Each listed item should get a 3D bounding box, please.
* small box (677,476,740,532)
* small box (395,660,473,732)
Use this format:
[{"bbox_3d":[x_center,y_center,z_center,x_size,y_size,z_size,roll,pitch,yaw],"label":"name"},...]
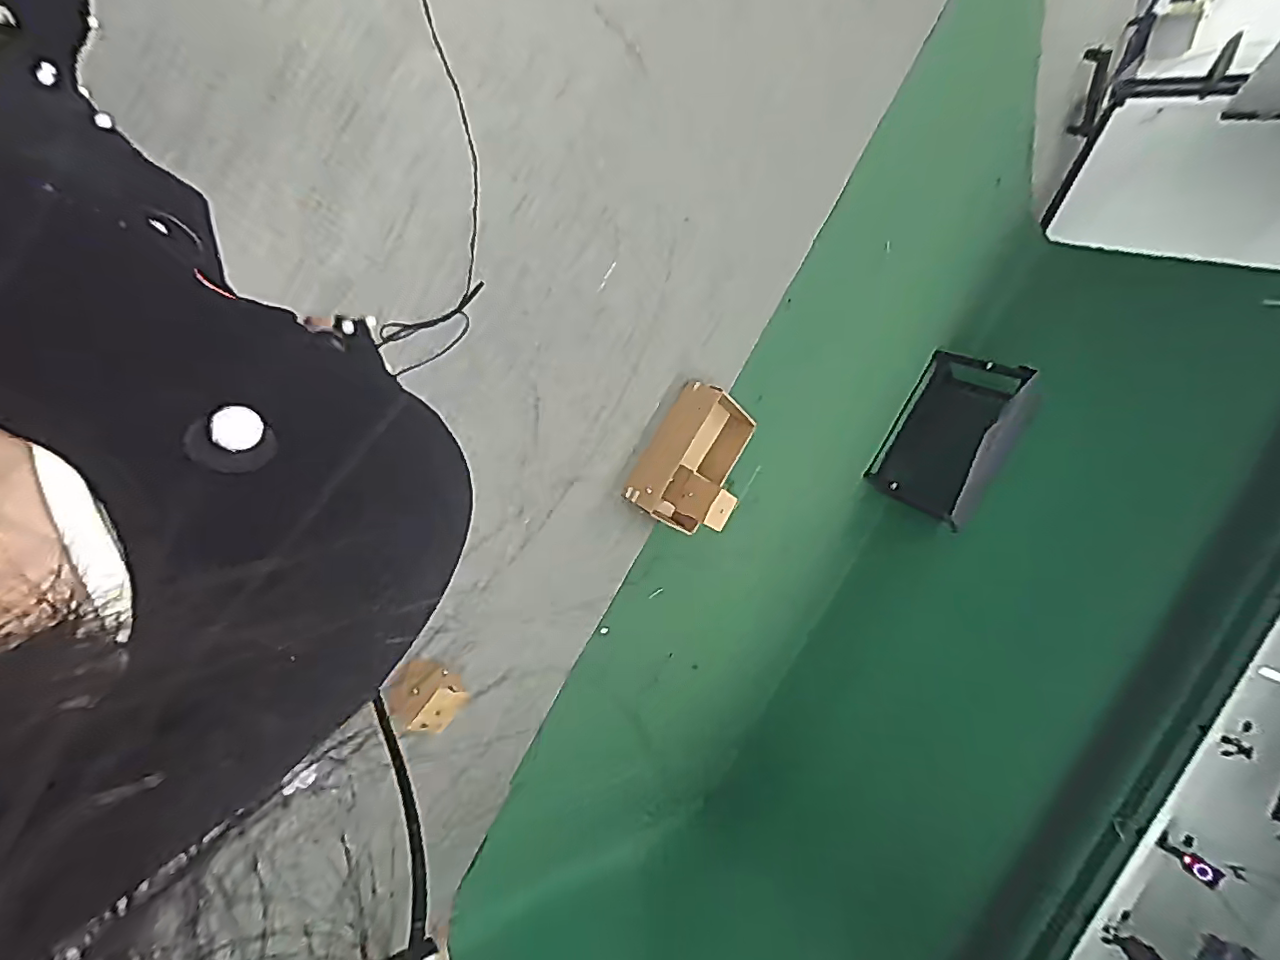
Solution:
[{"bbox_3d":[0.295,0.100,2.326,0.179,0.176,0.168,28,91,-51],"label":"small box"},{"bbox_3d":[-0.754,0.785,1.969,0.179,0.176,0.168,-54,142,-8],"label":"small box"}]
